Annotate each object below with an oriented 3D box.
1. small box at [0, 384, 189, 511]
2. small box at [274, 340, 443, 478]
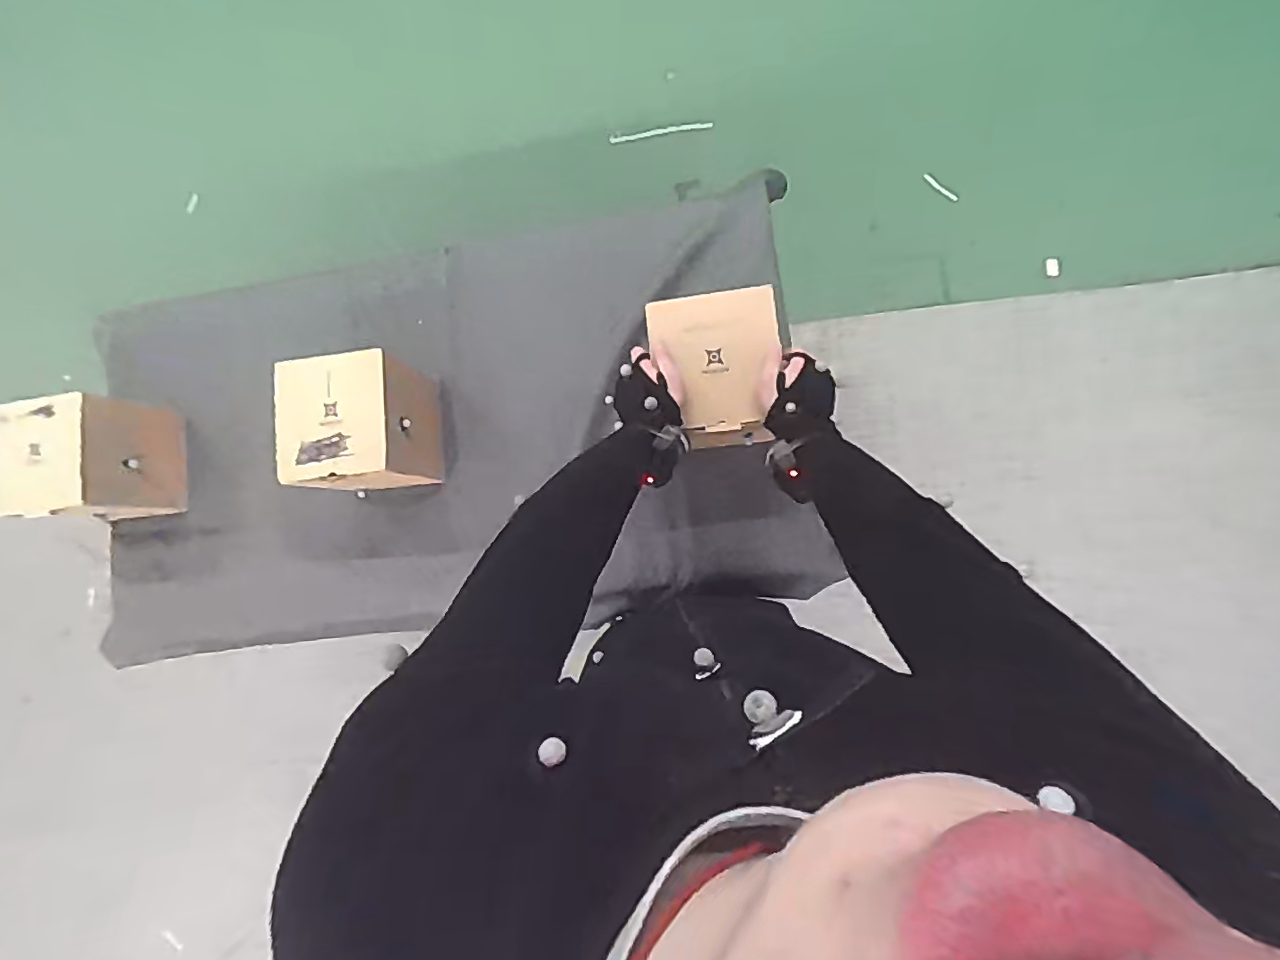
[{"bbox_3d":[-0.885,-0.046,0.883,0.168,0.176,0.179,-7,87,5],"label":"small box"},{"bbox_3d":[-0.417,-0.095,0.825,0.168,0.176,0.179,-5,85,7],"label":"small box"}]
